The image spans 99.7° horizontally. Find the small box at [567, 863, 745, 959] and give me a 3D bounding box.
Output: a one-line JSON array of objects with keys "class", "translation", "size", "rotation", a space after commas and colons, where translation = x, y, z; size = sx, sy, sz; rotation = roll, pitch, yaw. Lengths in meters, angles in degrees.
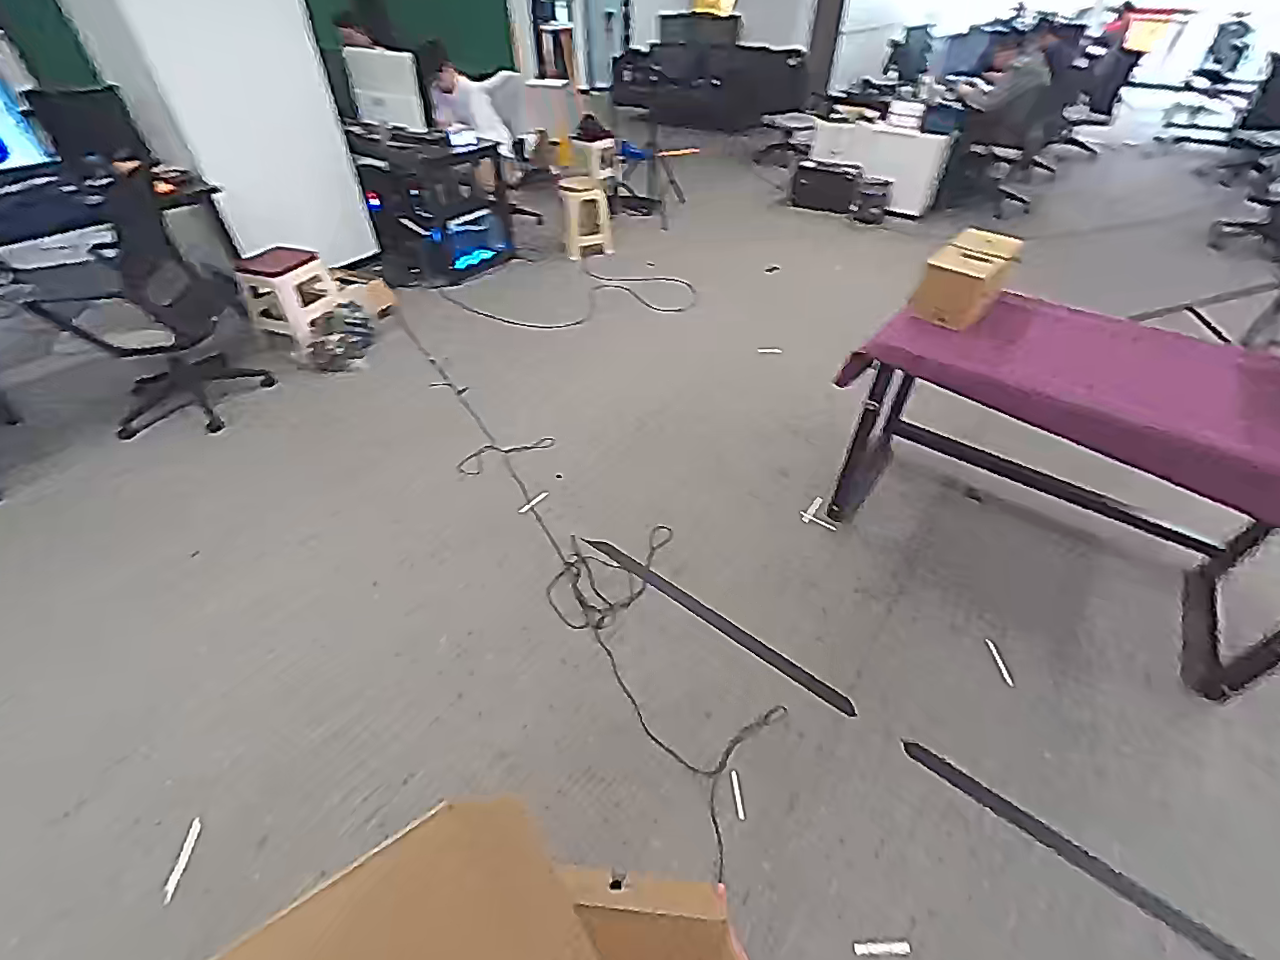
[{"class": "small box", "translation": [-0.024, 0.393, 0.392], "size": [0.179, 0.176, 0.168], "rotation": [5, 60, 3]}]

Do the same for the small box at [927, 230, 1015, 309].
[{"class": "small box", "translation": [1.054, -0.677, 1.734], "size": [0.168, 0.176, 0.179], "rotation": [32, 52, 29]}]
